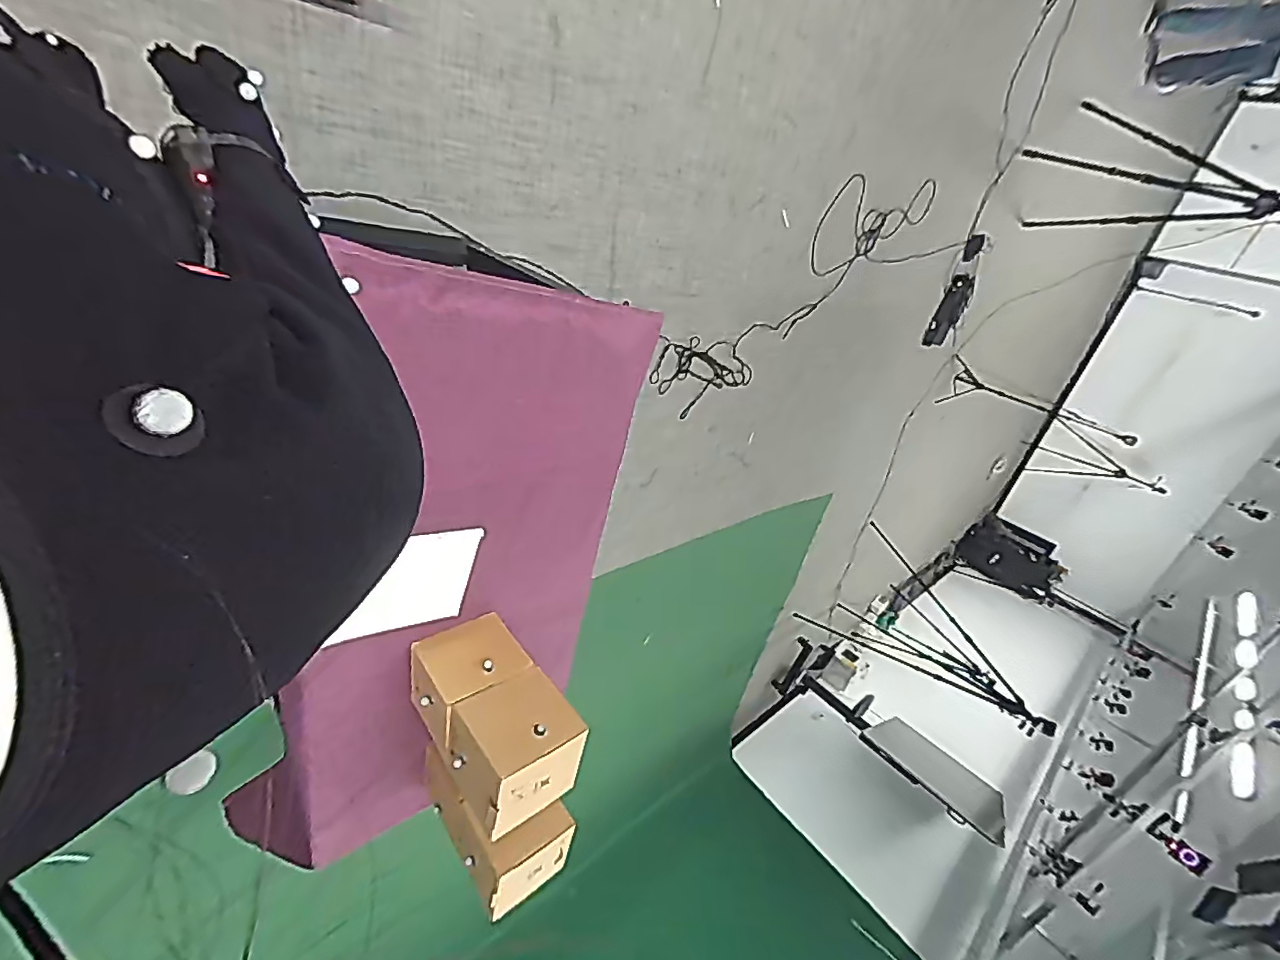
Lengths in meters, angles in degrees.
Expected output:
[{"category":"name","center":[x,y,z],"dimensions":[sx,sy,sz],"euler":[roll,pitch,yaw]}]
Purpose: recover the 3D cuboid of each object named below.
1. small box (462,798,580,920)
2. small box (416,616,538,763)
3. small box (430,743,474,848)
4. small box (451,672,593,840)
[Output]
[{"category":"small box","center":[-0.254,0.742,1.127],"dimensions":[0.179,0.176,0.168],"euler":[-11,127,-41]},{"category":"small box","center":[-0.325,0.400,1.061],"dimensions":[0.179,0.176,0.168],"euler":[-15,128,-41]},{"category":"small box","center":[-0.361,0.671,1.229],"dimensions":[0.179,0.176,0.168],"euler":[-12,126,-42]},{"category":"small box","center":[-0.214,0.478,0.967],"dimensions":[0.179,0.176,0.168],"euler":[-12,126,-42]}]
